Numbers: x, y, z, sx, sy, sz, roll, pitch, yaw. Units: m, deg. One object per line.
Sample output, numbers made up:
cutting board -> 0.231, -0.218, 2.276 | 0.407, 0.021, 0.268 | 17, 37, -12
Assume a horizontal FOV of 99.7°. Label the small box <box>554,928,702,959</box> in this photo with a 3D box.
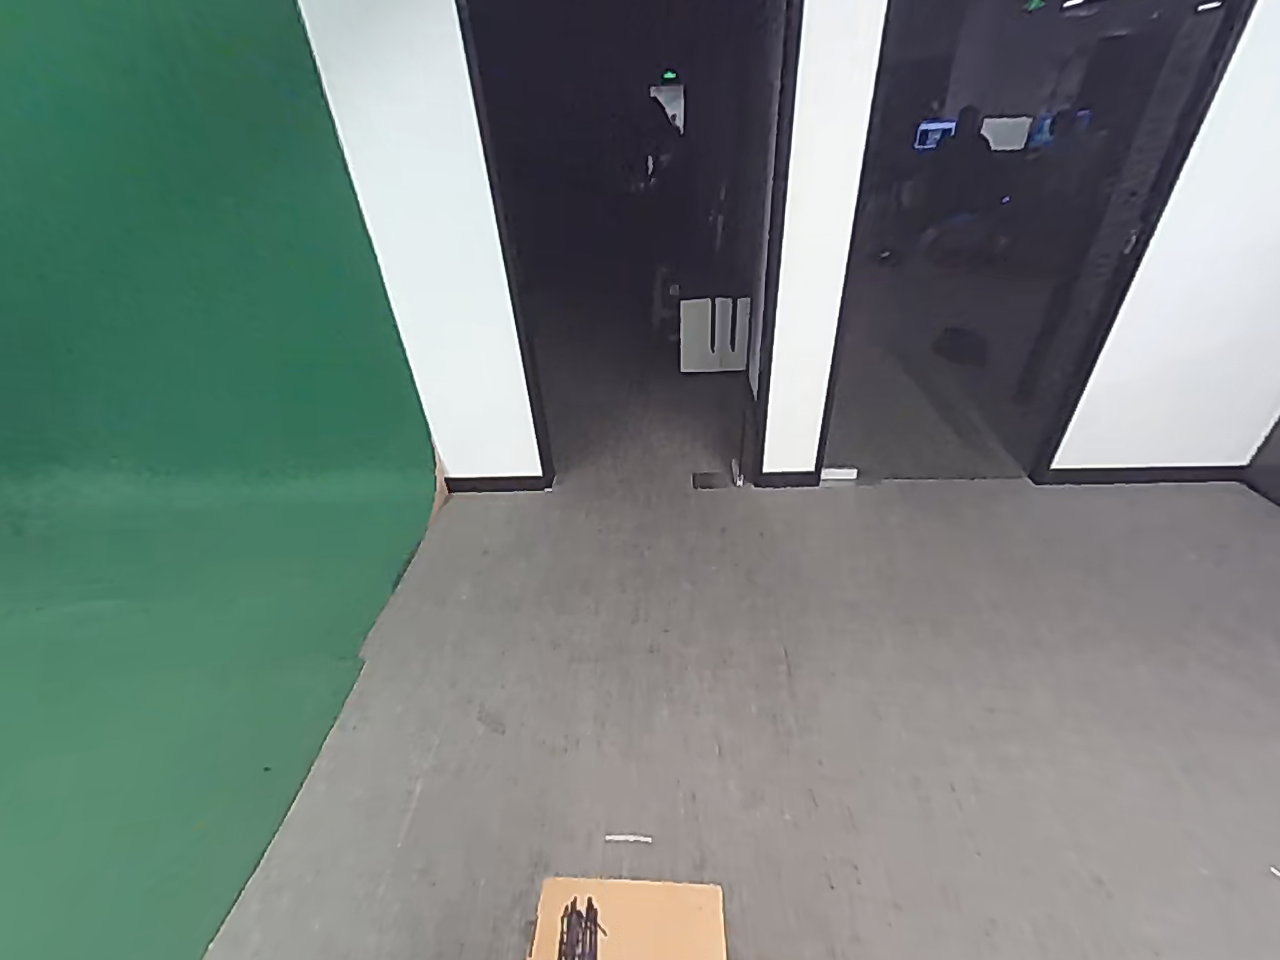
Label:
small box -> -0.019, 0.634, 0.587 | 0.168, 0.176, 0.179 | 3, 33, 5
